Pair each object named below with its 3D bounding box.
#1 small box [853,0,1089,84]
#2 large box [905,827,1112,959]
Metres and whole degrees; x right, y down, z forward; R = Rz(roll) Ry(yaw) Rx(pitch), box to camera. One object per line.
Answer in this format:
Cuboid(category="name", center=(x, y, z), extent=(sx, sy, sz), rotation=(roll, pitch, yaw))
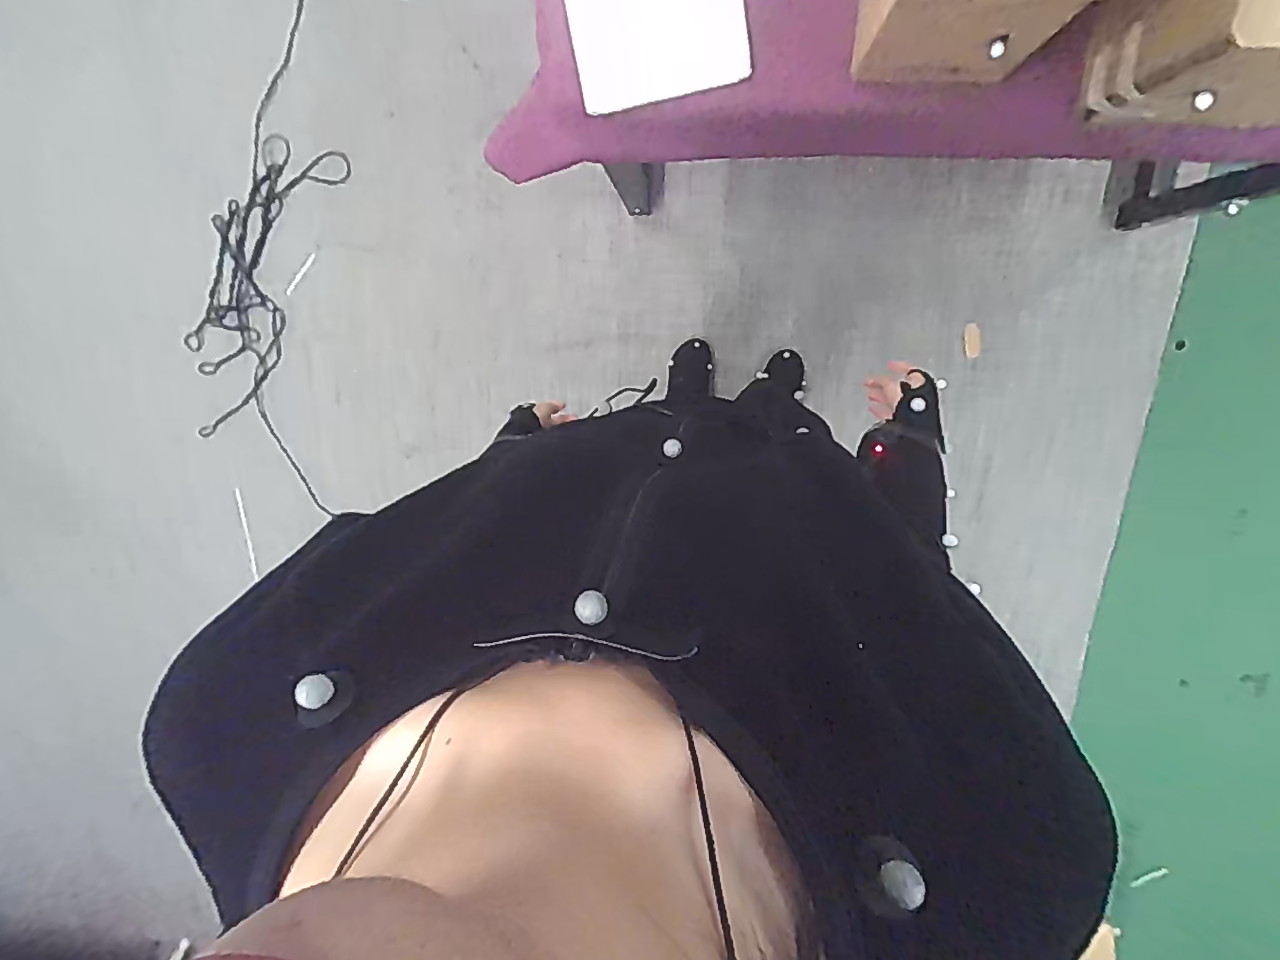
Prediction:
Cuboid(category="small box", center=(0.316, -0.512, 0.516), extent=(0.168, 0.176, 0.179), rotation=(4, 103, 4))
Cuboid(category="large box", center=(1.058, 1.290, 1.590), extent=(0.408, 0.320, 0.320), rotation=(-12, 104, 8))
